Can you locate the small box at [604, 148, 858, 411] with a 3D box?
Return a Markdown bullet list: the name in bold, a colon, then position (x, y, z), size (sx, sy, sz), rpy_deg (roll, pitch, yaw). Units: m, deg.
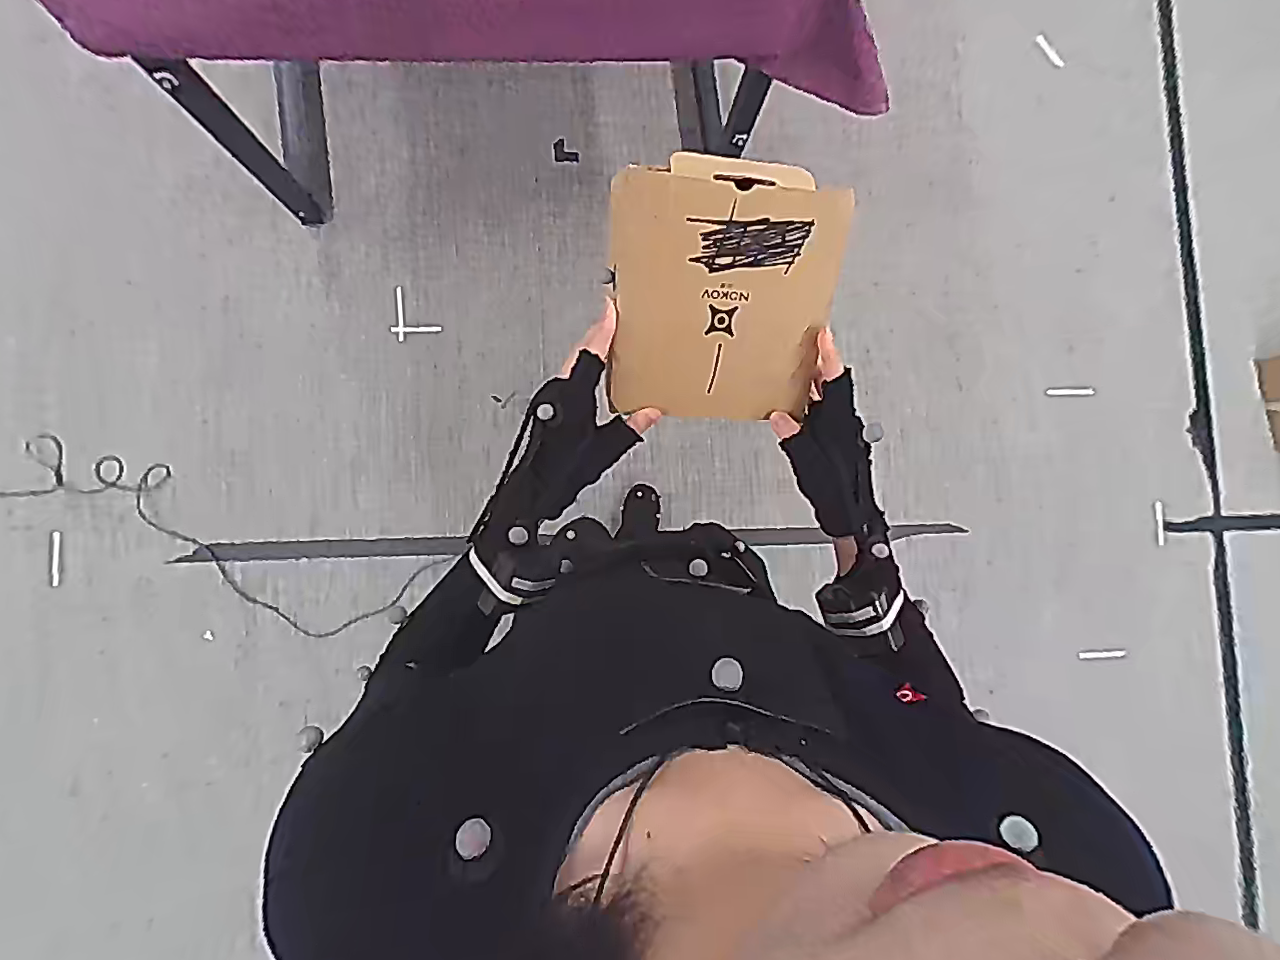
- **small box**: position (0.057, -0.172, 0.472), size (0.168, 0.176, 0.179), rpy_deg (2, 116, -7)
